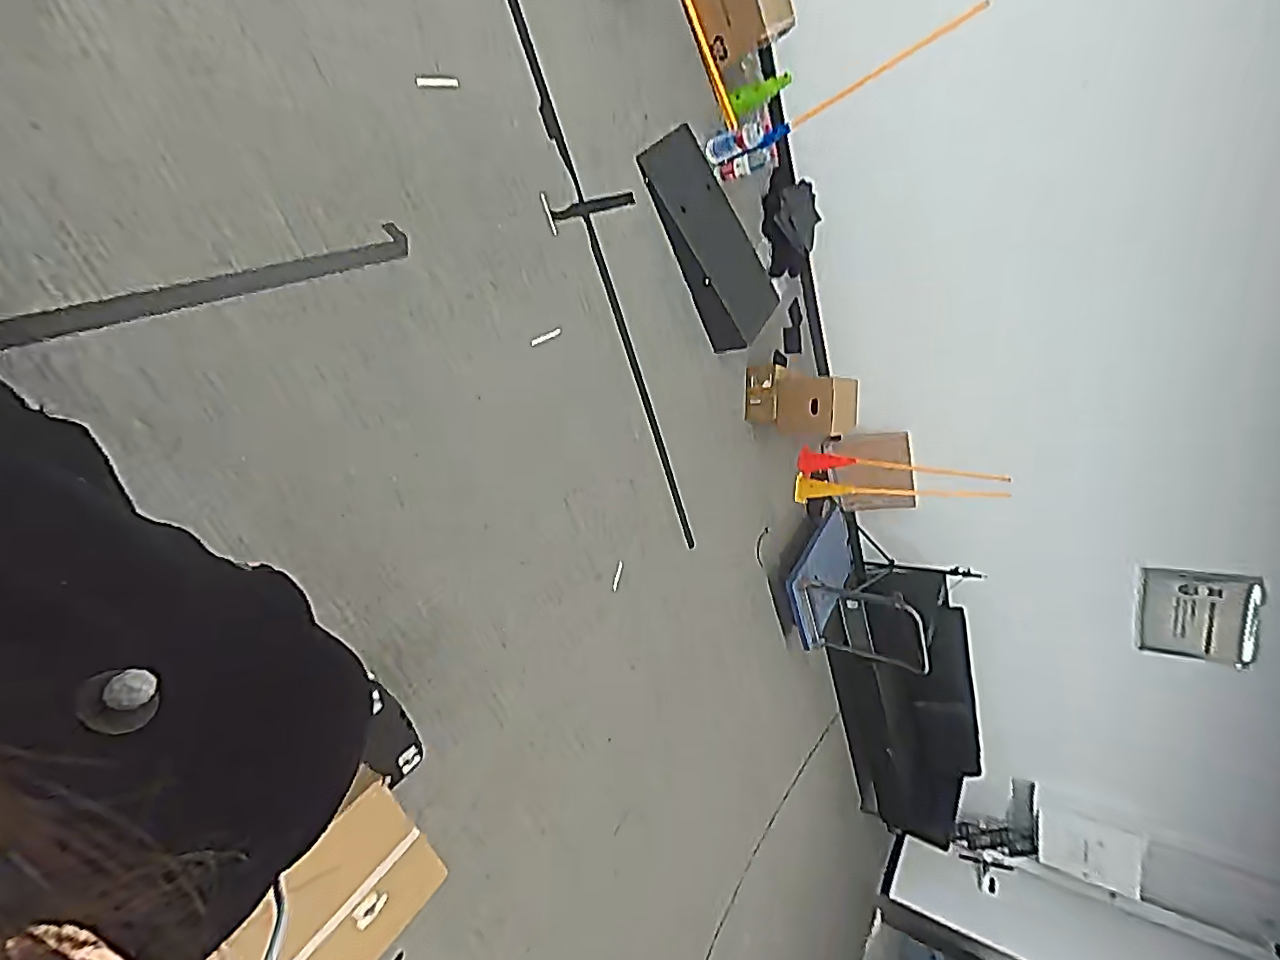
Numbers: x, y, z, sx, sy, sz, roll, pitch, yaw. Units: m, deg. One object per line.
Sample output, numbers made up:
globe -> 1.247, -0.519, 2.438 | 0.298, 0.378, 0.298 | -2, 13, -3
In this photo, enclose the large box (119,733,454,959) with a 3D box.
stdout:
large box -> -0.668, 0.799, 1.063 | 0.408, 0.320, 0.320 | -42, 122, -43
